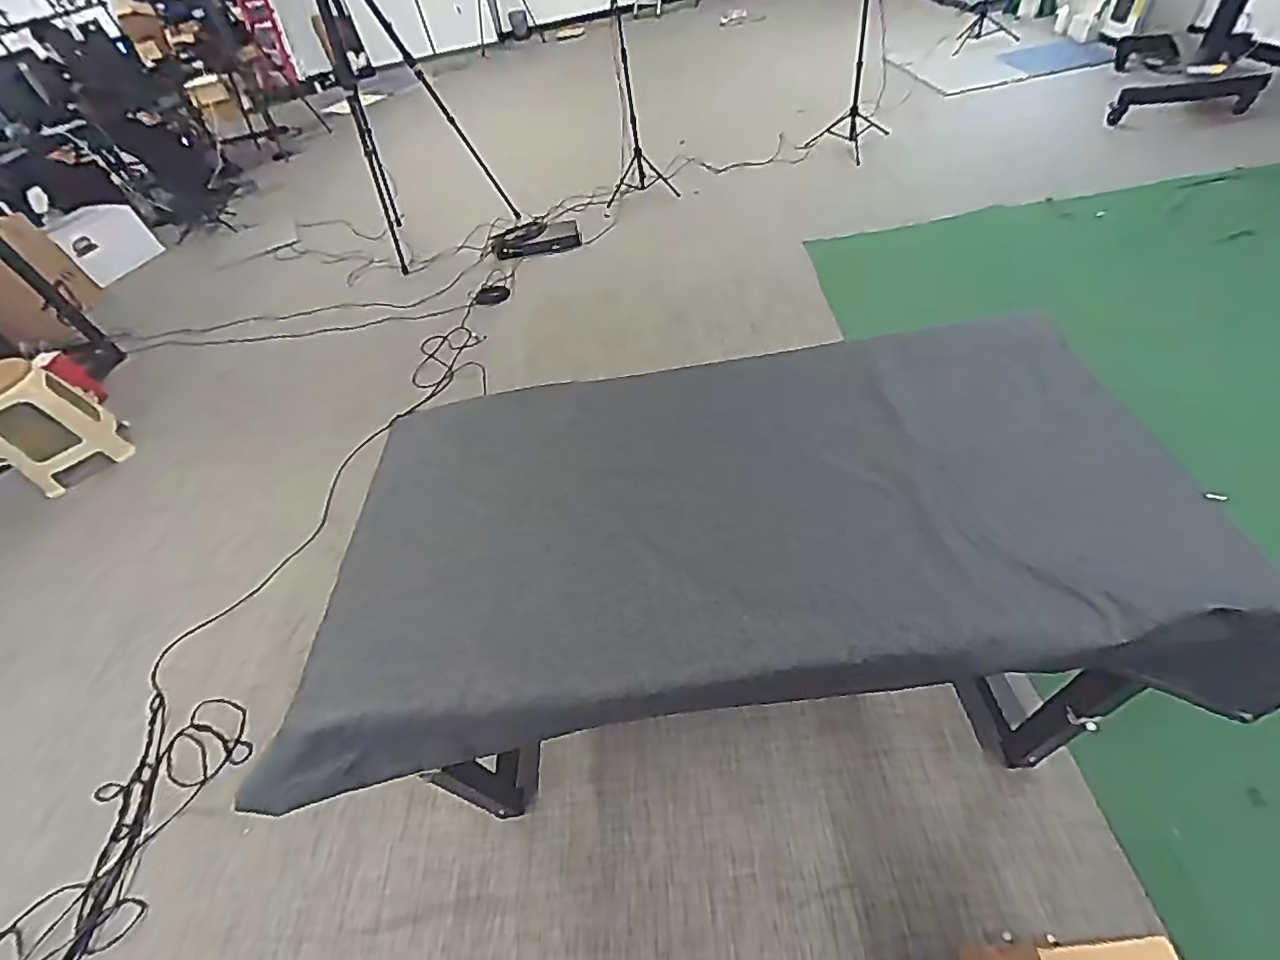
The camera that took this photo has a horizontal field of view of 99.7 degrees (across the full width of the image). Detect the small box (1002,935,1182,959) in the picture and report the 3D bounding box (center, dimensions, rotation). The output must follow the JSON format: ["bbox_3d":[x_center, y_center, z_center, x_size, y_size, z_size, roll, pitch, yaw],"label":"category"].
[{"bbox_3d":[0.644,0.738,0.739,0.179,0.176,0.168,-10,48,3],"label":"small box"}]
